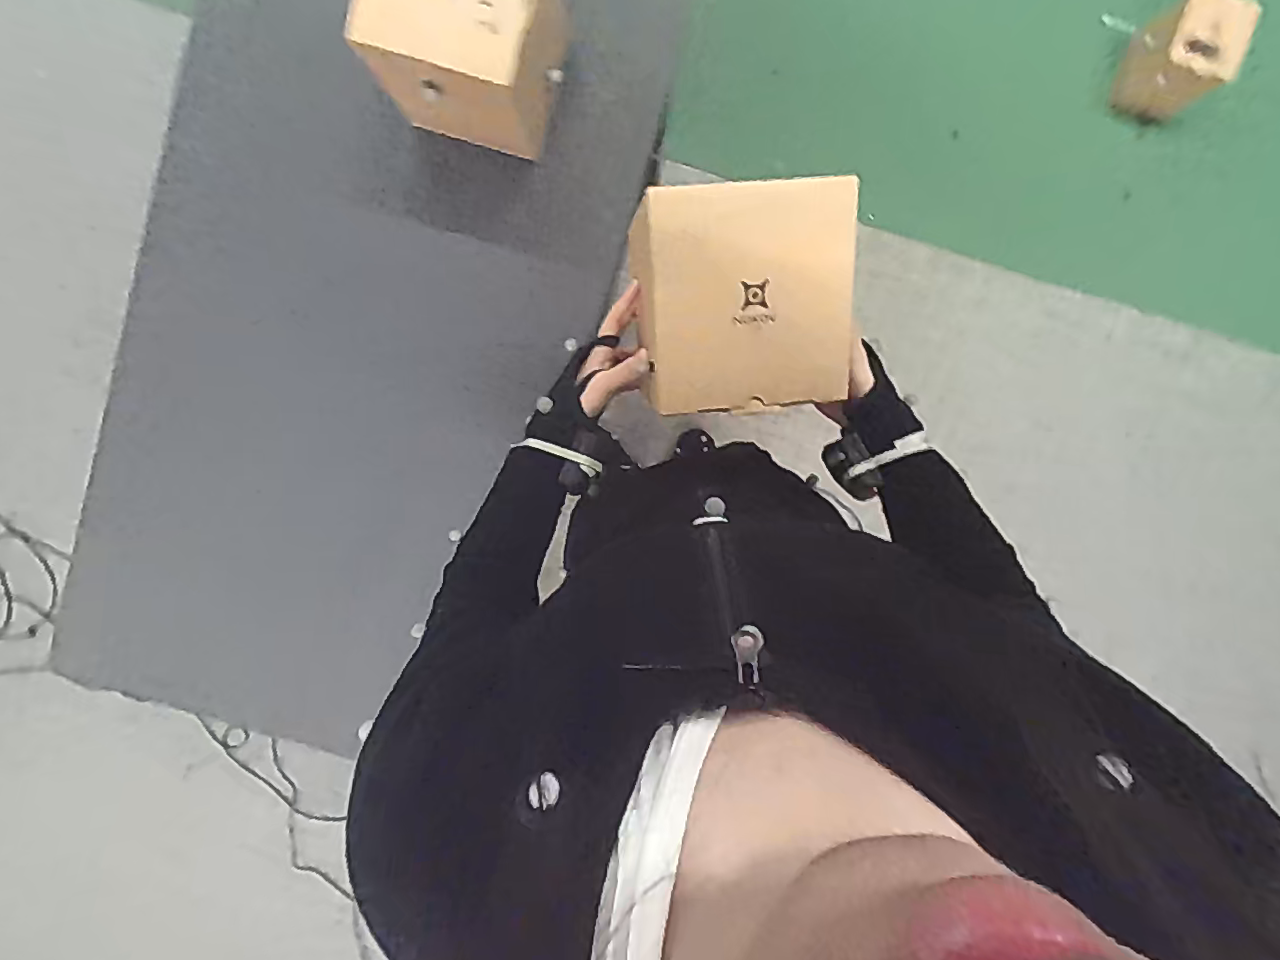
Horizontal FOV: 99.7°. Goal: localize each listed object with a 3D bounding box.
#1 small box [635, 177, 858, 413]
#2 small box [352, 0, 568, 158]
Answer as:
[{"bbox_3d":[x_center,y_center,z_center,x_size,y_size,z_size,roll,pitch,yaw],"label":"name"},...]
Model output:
[{"bbox_3d":[0.088,-0.170,0.516,0.168,0.176,0.179,-6,108,-4],"label":"small box"},{"bbox_3d":[-0.197,-0.517,0.638,0.179,0.176,0.168,15,97,-1],"label":"small box"}]
